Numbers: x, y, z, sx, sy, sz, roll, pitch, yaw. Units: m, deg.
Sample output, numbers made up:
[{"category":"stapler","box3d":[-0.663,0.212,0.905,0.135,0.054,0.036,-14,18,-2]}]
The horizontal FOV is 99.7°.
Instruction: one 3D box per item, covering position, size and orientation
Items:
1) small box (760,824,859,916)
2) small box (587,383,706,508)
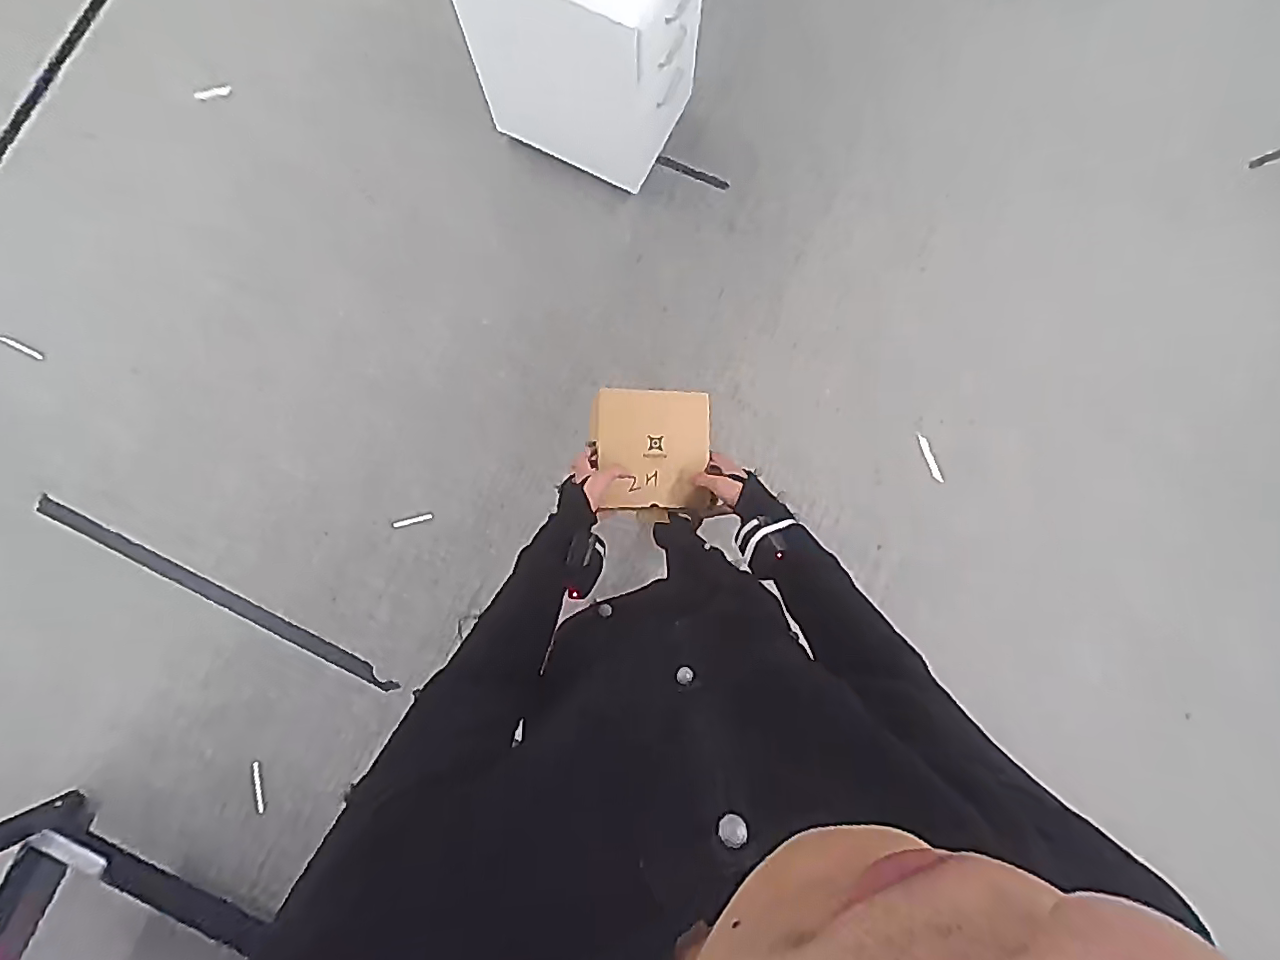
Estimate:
[{"category":"small box","box3d":[0.447,1.070,1.452,0.179,0.176,0.168,26,84,3]},{"category":"small box","box3d":[0.003,-0.046,0.862,0.168,0.176,0.179,1,86,-10]}]
